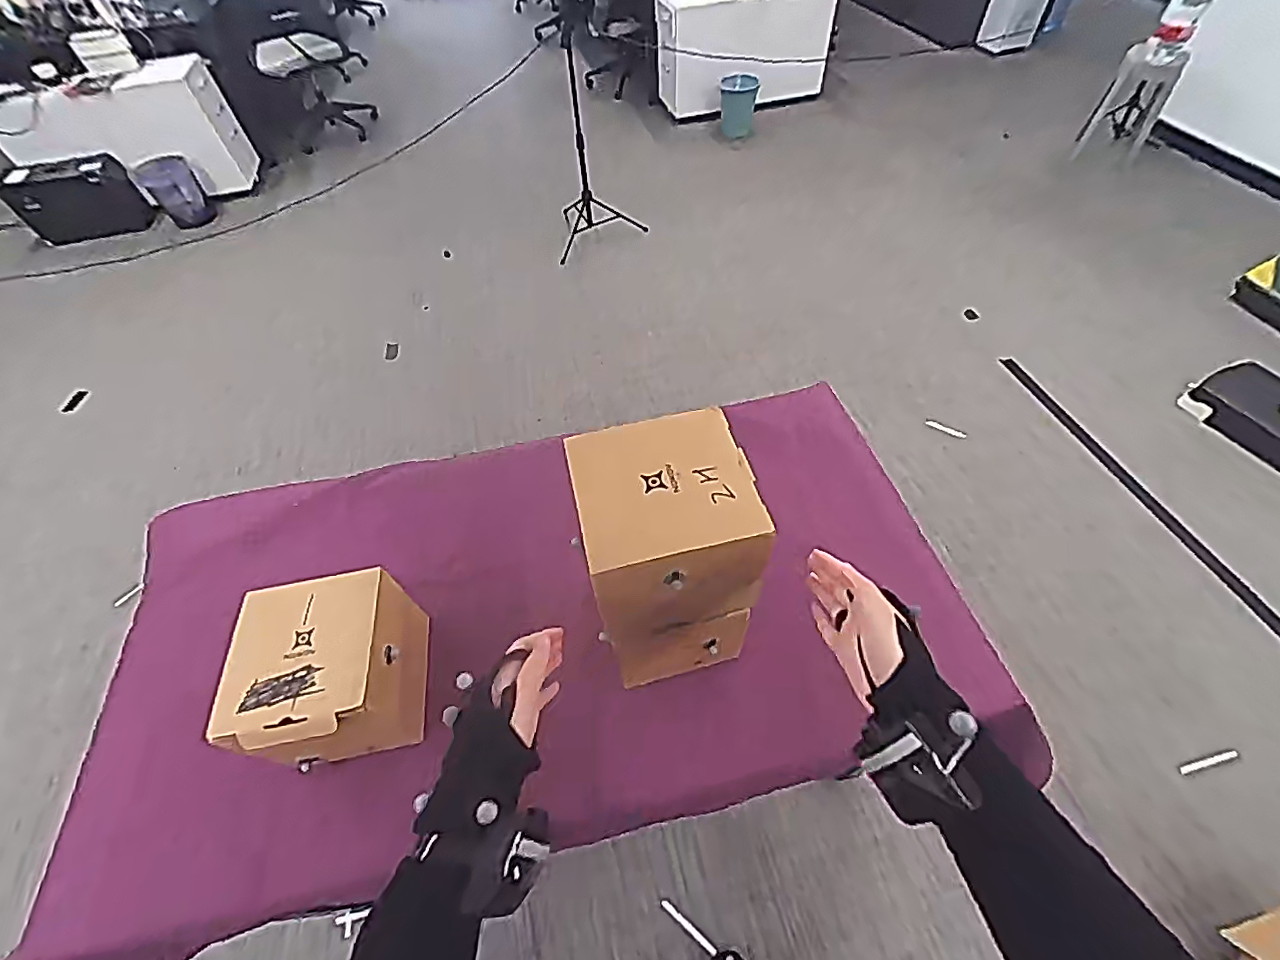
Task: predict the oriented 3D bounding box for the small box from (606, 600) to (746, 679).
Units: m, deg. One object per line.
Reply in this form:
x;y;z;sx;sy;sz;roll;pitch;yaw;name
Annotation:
0.030;0.150;0.725;0.168;0.176;0.179;-13;53;-6;small box

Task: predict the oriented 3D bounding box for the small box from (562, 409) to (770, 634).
0.023;0.051;0.594;0.179;0.176;0.168;-12;54;-6;small box

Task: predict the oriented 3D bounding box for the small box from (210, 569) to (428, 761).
-0.382;0.240;0.684;0.168;0.176;0.179;-10;53;-4;small box
